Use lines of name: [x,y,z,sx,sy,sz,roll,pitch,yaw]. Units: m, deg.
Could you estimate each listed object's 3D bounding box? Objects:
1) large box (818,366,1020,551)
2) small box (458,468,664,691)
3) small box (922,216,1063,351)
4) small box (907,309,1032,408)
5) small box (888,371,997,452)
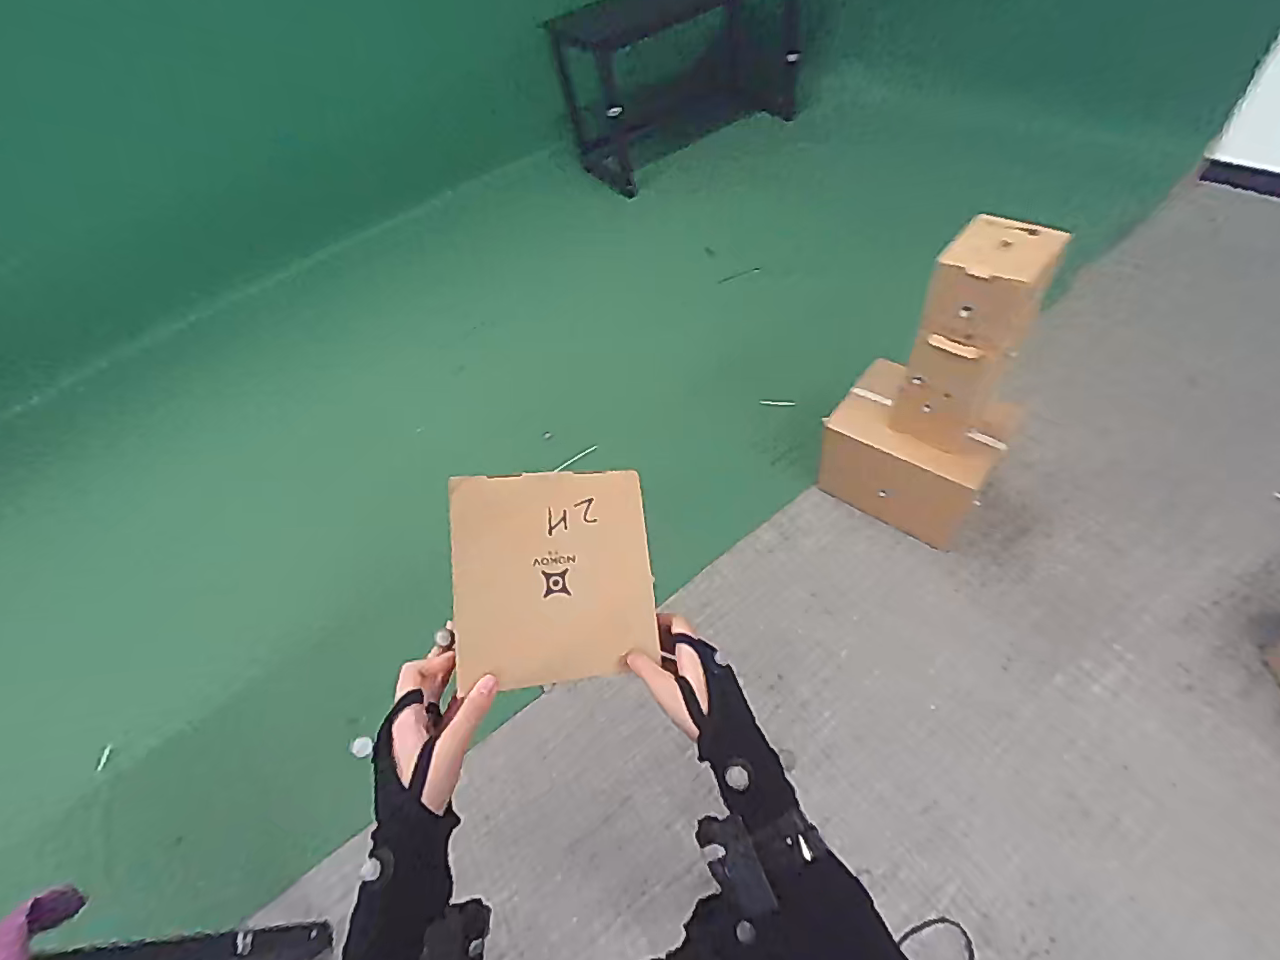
large box: [0.774,-0.066,1.554,0.408,0.320,0.320,29,64,31]
small box: [-0.086,0.096,0.525,0.168,0.176,0.179,-2,74,-18]
small box: [0.695,-0.392,1.089,0.168,0.176,0.179,34,70,31]
small box: [0.727,-0.292,1.216,0.179,0.176,0.168,-43,56,-17]
small box: [0.749,-0.198,1.349,0.179,0.176,0.168,34,69,31]
